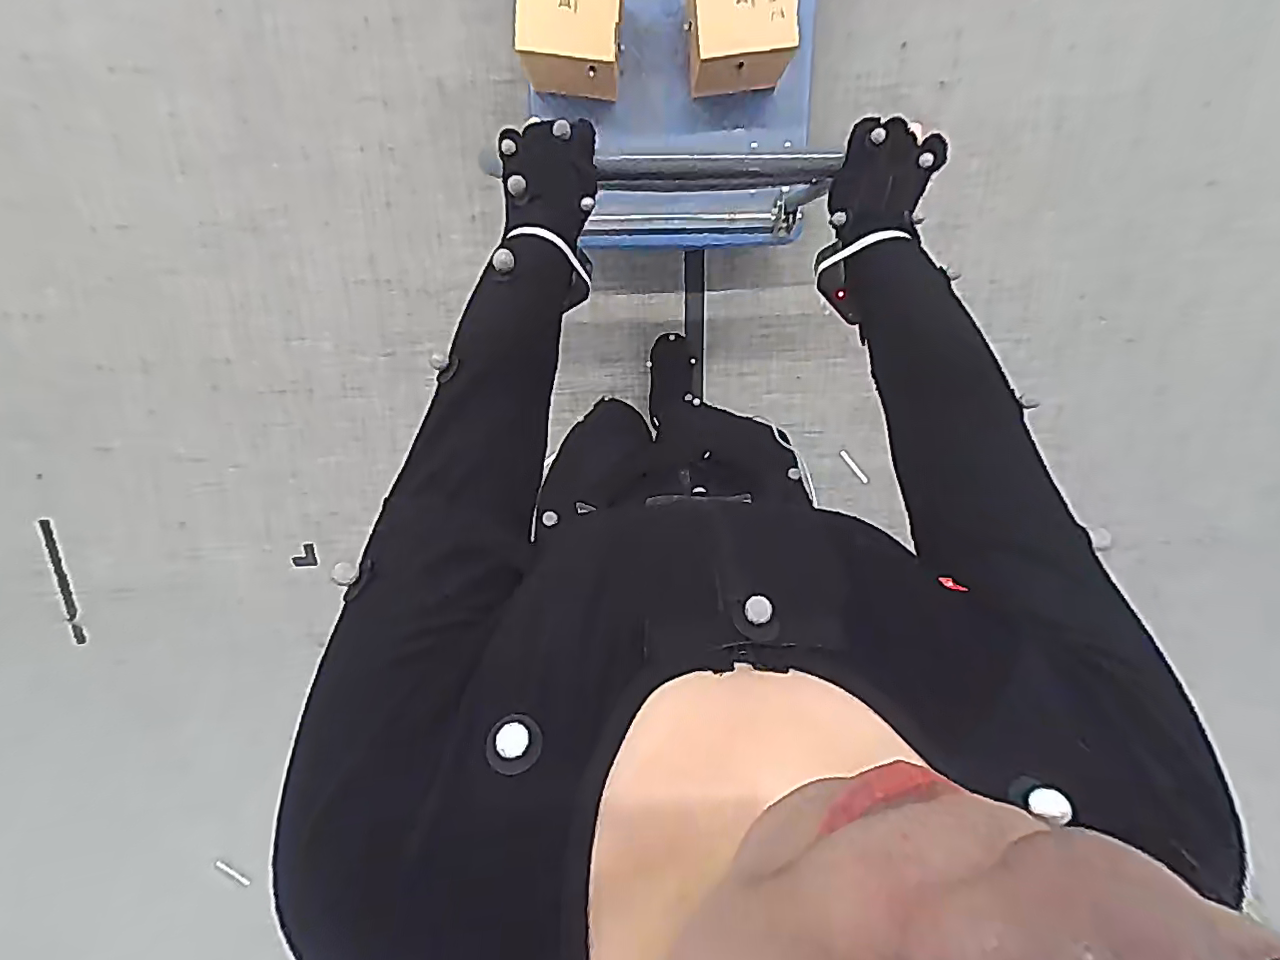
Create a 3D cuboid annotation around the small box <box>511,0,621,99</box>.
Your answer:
[{"bbox_3d":[-0.129,-0.829,0.990,0.179,0.176,0.168,5,106,-3],"label":"small box"}]

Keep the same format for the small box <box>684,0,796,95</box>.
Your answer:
[{"bbox_3d":[0.175,-0.836,0.989,0.179,0.176,0.168,-6,106,2],"label":"small box"}]
